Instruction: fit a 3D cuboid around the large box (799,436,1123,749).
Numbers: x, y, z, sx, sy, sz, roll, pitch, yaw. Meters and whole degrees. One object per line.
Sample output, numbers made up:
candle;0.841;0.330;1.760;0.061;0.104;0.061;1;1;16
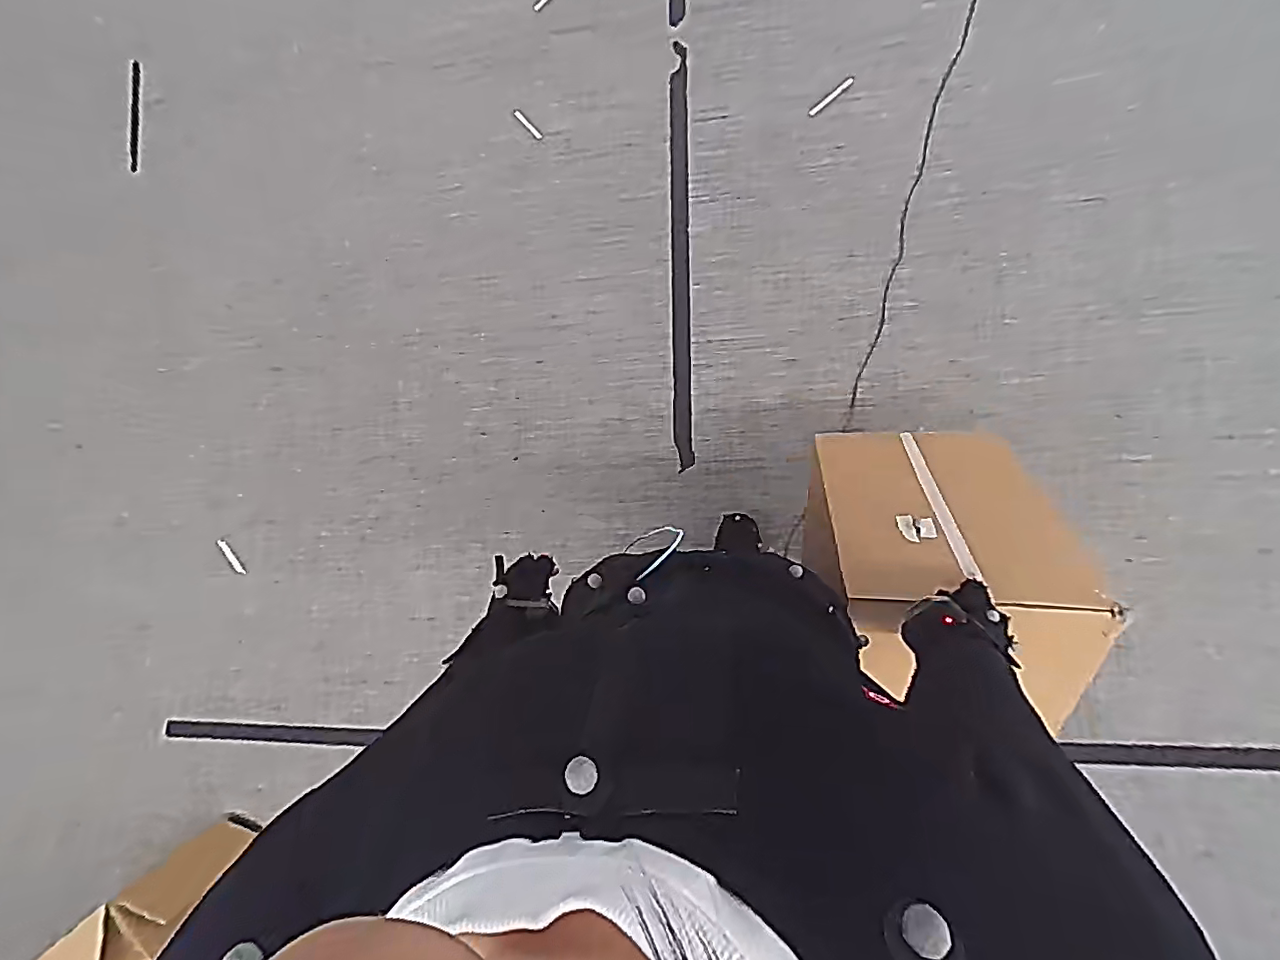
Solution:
large box;0.455;0.163;0.900;0.320;0.408;0.320;1;126;10
